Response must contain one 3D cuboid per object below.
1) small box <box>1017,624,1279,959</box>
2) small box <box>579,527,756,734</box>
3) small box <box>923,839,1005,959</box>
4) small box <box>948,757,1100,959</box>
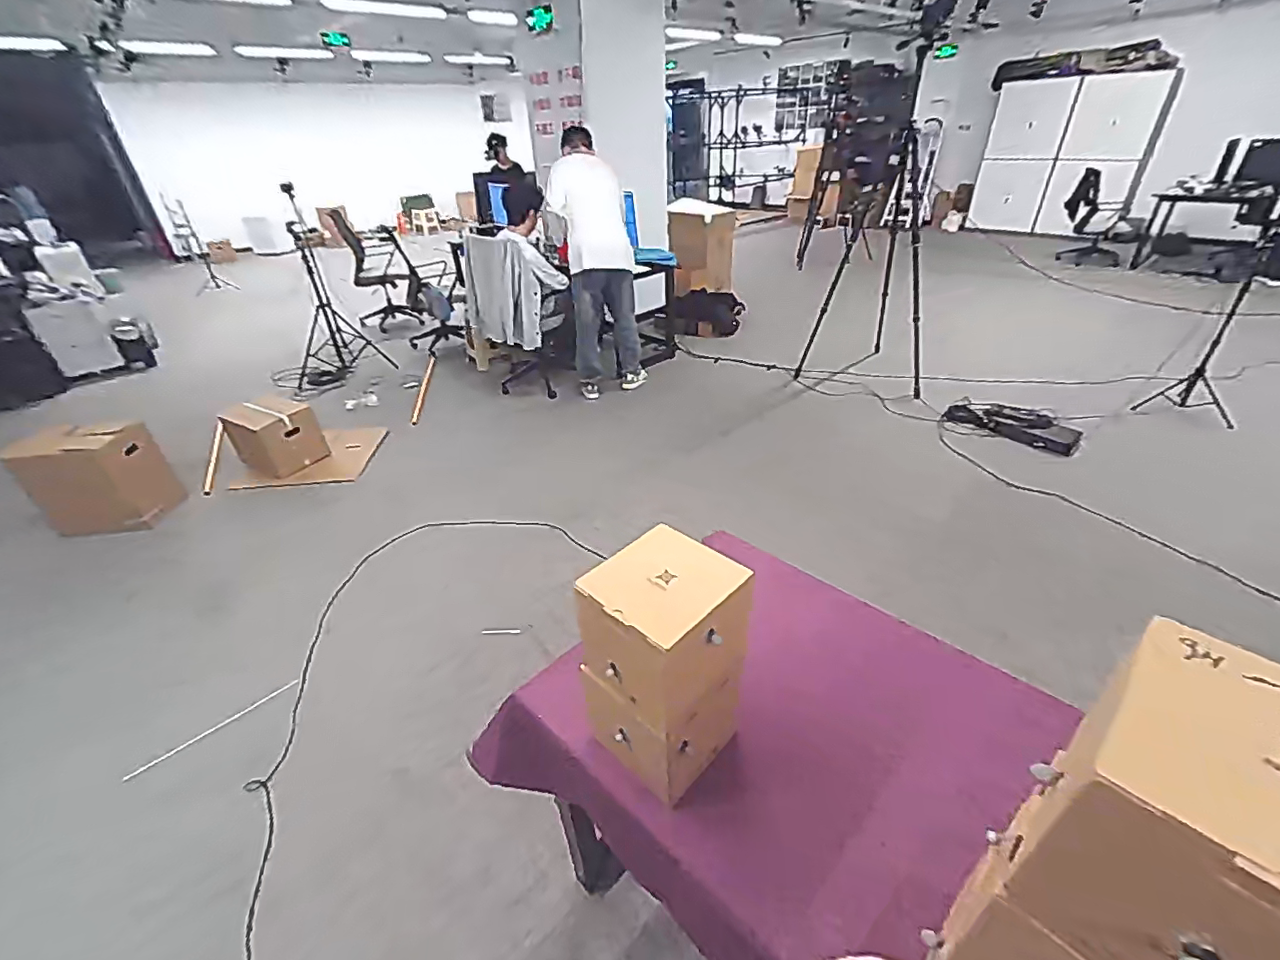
[{"bbox_3d":[0.383,0.239,0.354,0.179,0.176,0.168,-29,41,-33],"label":"small box"},{"bbox_3d":[0.037,0.200,0.744,0.168,0.176,0.179,26,43,37],"label":"small box"},{"bbox_3d":[0.383,0.518,0.530,0.179,0.176,0.168,-28,41,-34],"label":"small box"},{"bbox_3d":[0.384,0.381,0.437,0.168,0.176,0.179,-28,41,-33],"label":"small box"}]
